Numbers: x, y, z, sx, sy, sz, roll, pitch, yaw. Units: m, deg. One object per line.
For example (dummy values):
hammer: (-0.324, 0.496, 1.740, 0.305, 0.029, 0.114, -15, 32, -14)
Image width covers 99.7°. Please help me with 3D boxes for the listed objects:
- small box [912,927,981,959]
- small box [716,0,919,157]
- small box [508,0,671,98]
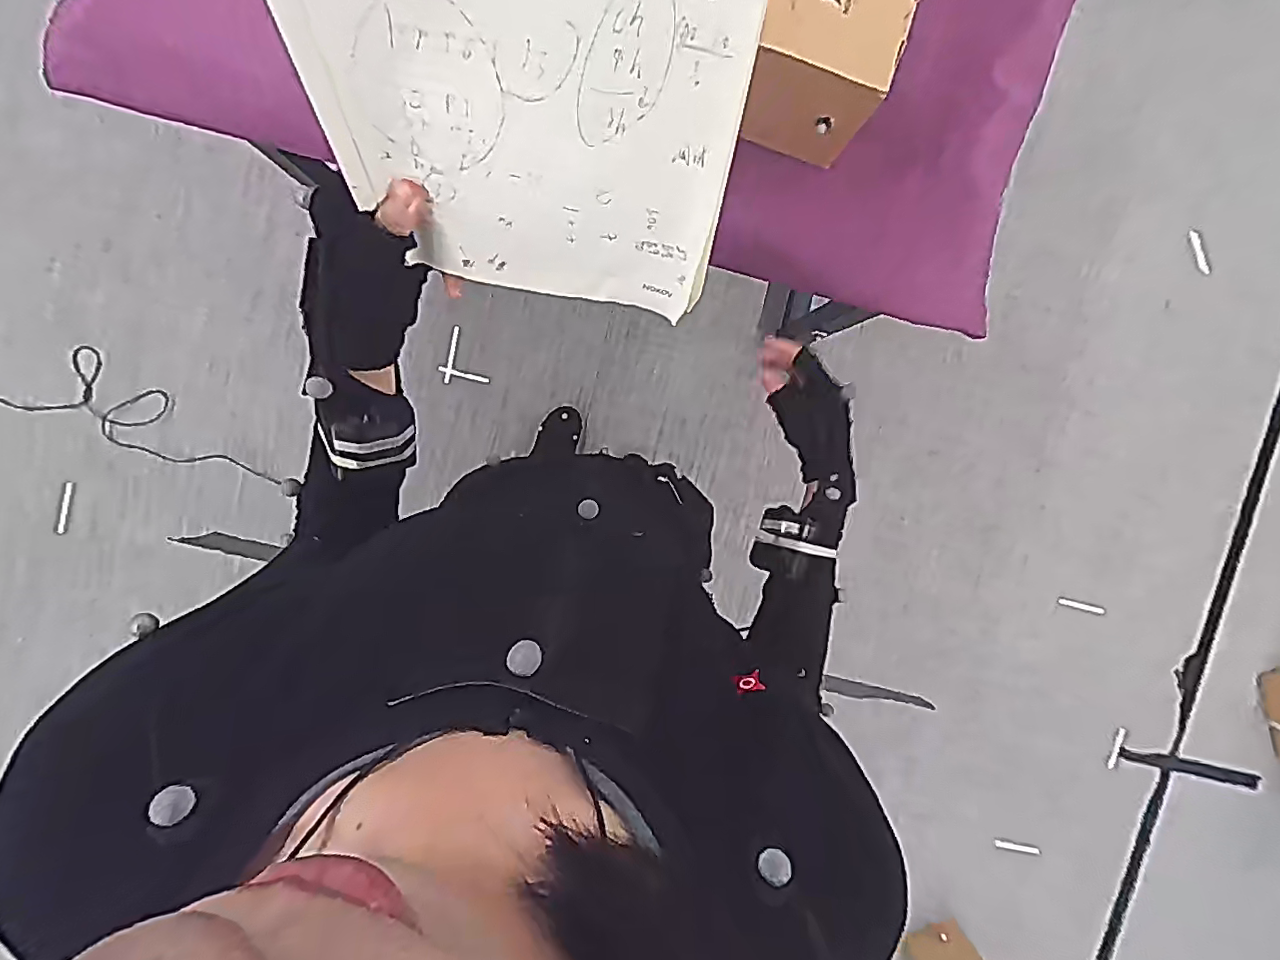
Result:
small box: (0.950, 1.515, 1.636, 0.168, 0.176, 0.179, -9, 95, -4)
small box: (0.209, -0.532, 0.659, 0.179, 0.176, 0.168, 16, 92, -4)
small box: (-0.048, -0.593, 0.633, 0.179, 0.176, 0.168, 13, 94, -6)
